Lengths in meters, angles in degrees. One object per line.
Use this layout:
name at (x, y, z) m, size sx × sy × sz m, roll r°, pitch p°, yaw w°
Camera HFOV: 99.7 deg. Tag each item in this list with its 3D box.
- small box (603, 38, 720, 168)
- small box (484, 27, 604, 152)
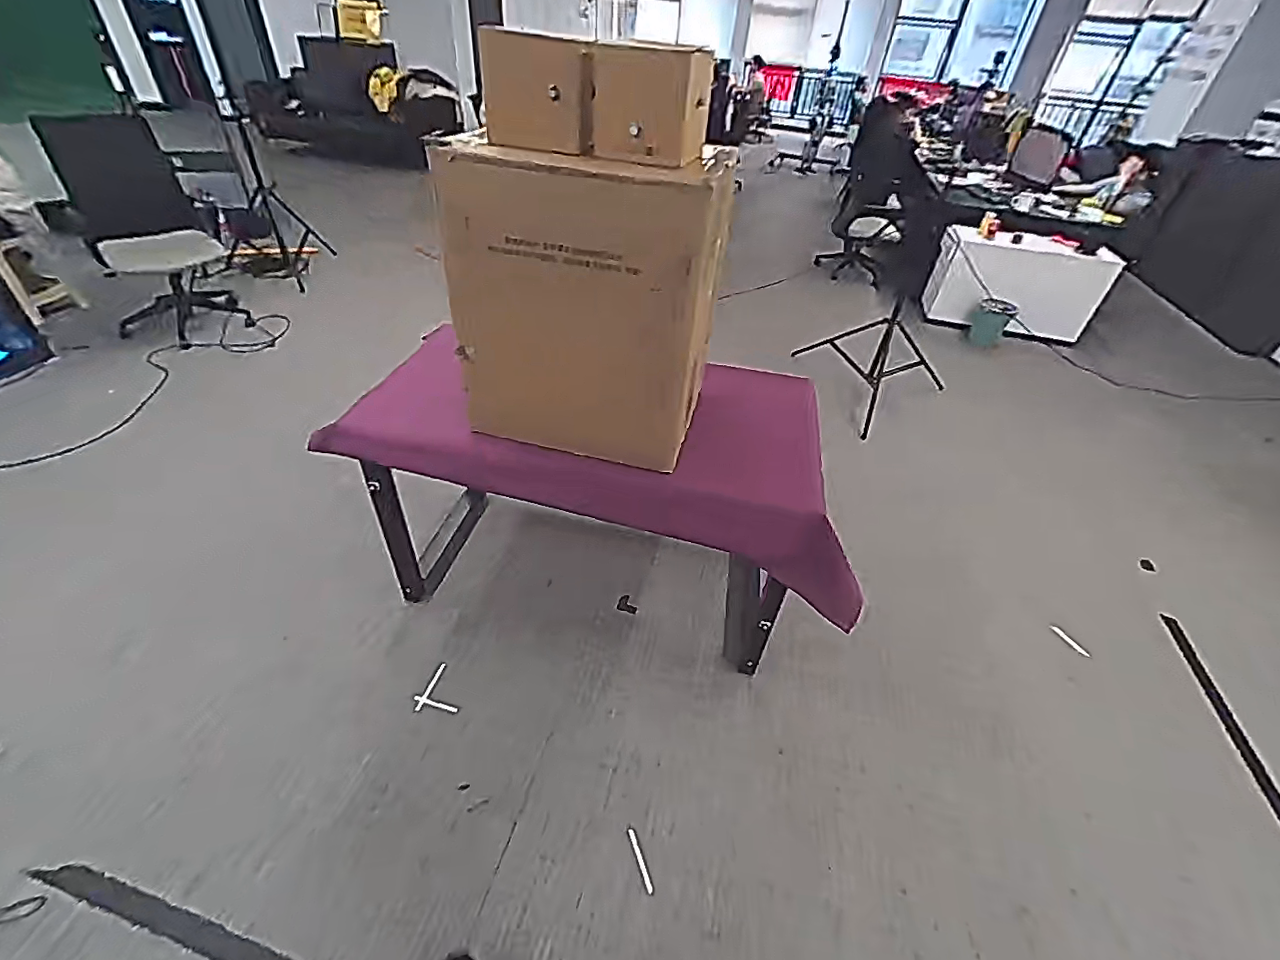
small box at (0.036, -0.683, 0.979) m, size 0.168 × 0.176 × 0.179 m, roll 14°, pitch 41°, yaw 12°
small box at (-0.170, -0.718, 0.998) m, size 0.179 × 0.176 × 0.168 m, roll 9°, pitch 39°, yaw 3°
